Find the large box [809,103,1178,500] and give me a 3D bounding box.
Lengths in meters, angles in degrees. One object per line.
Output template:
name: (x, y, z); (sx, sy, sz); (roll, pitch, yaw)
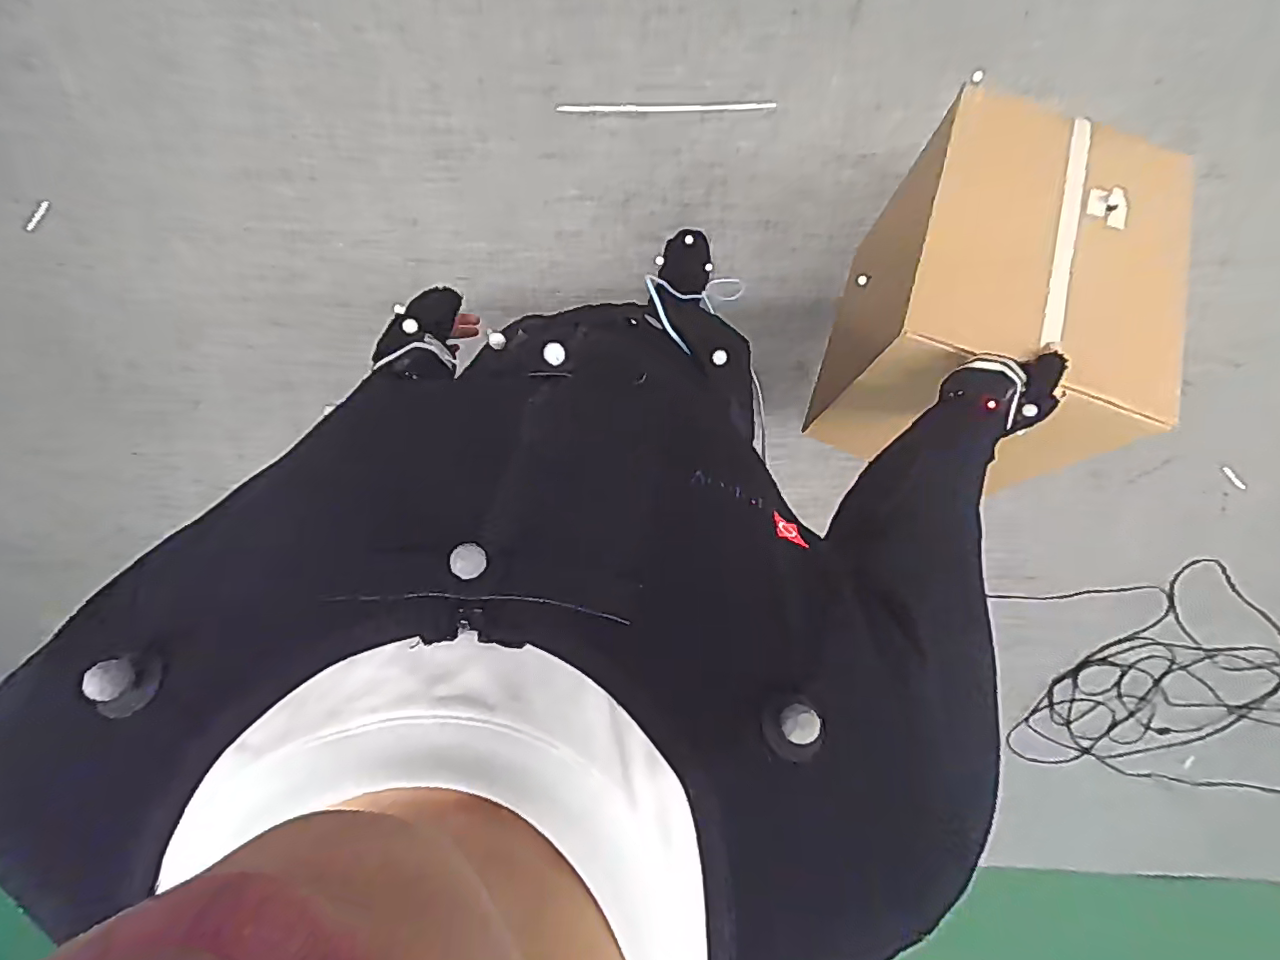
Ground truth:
large box: (0.490, -0.233, 0.799); (0.320, 0.320, 0.408); (21, 72, 1)
